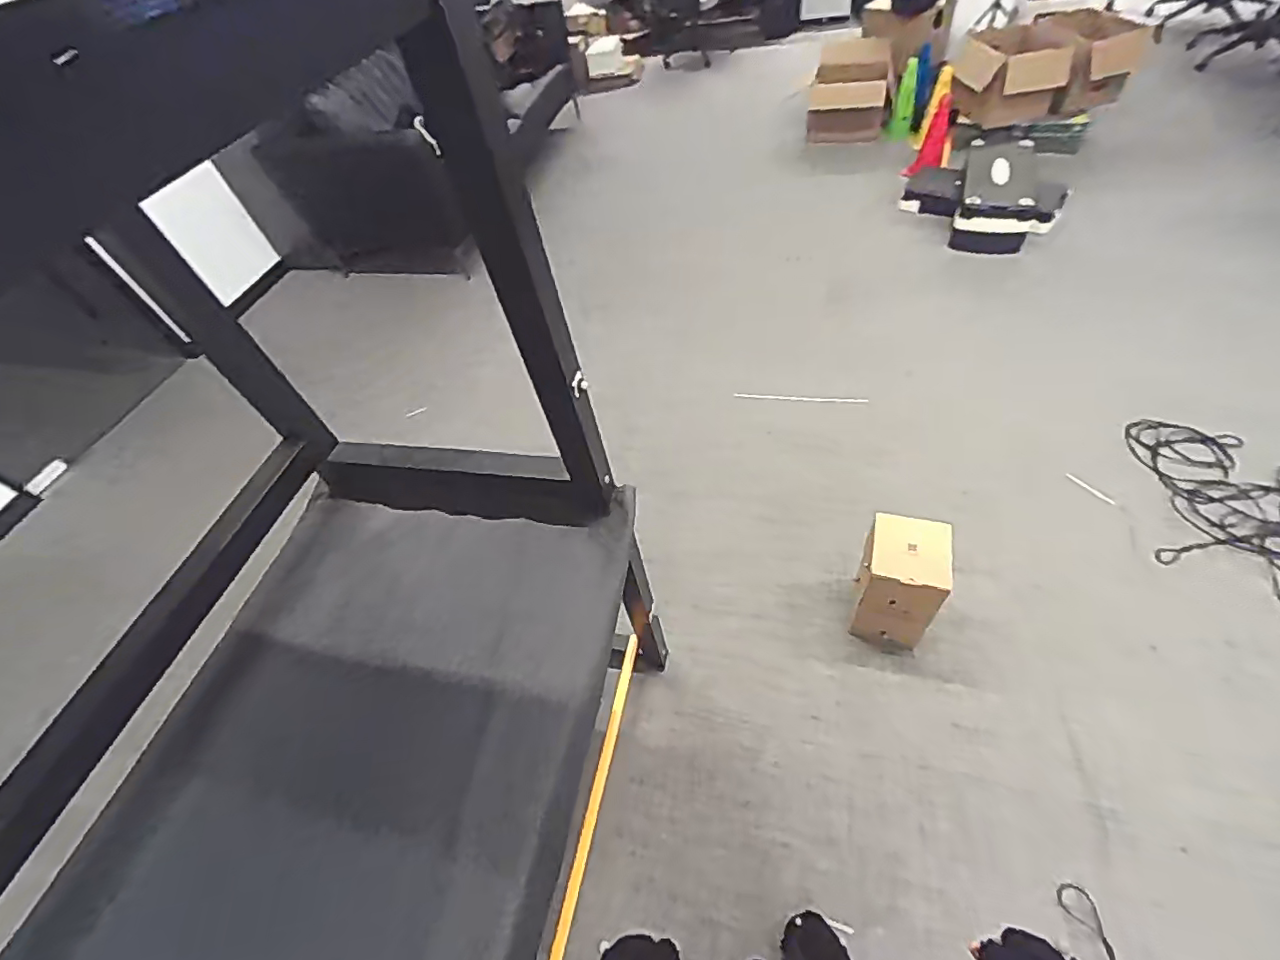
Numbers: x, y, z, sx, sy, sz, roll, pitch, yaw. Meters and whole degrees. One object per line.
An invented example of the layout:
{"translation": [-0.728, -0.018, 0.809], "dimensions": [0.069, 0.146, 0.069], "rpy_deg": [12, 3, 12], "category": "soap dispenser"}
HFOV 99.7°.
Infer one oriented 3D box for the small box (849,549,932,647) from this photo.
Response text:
{"translation": [0.655, 0.312, 1.423], "dimensions": [0.168, 0.176, 0.179], "rpy_deg": [10, 55, 19], "category": "small box"}
